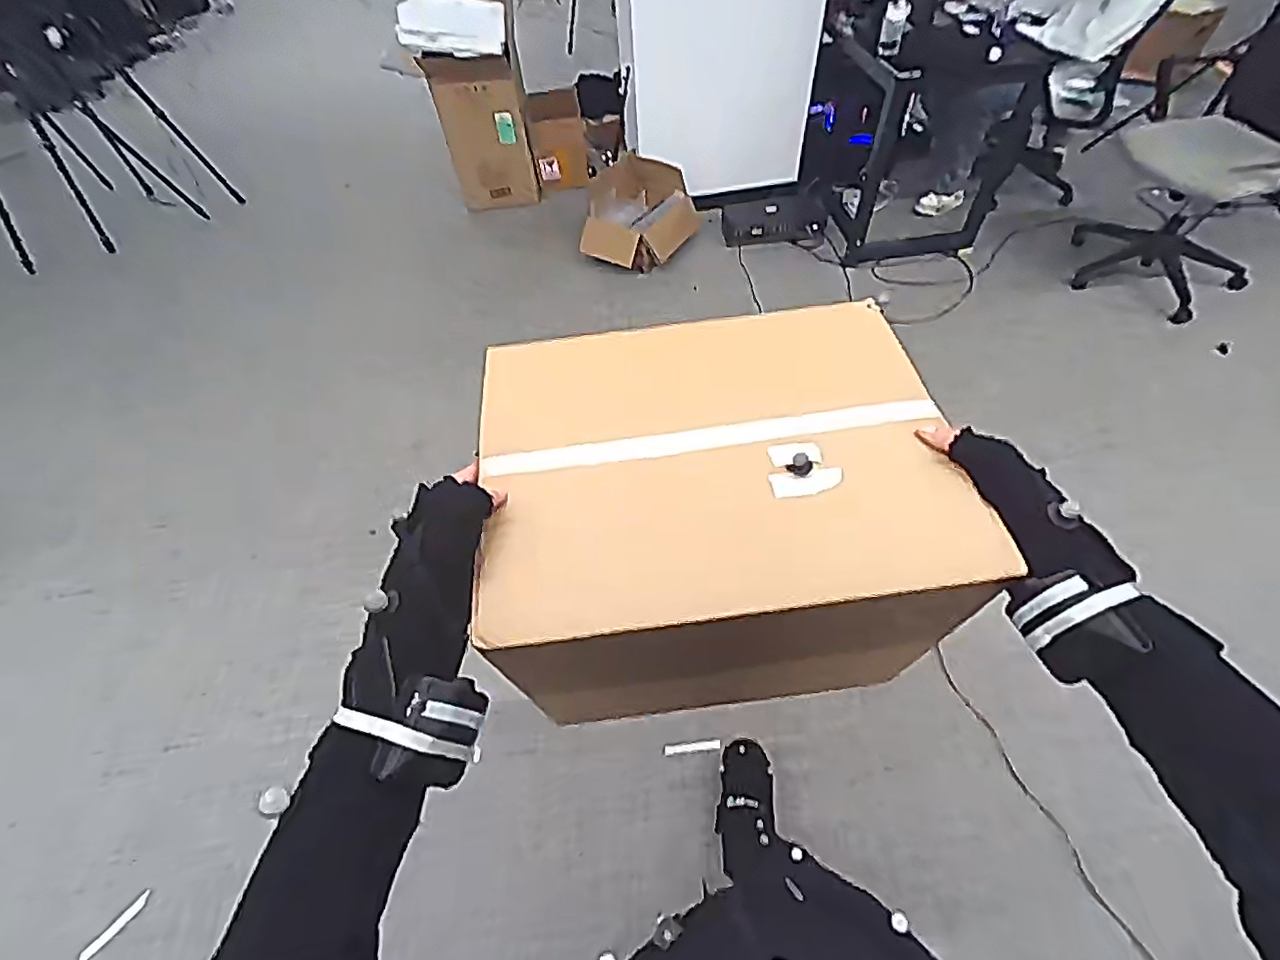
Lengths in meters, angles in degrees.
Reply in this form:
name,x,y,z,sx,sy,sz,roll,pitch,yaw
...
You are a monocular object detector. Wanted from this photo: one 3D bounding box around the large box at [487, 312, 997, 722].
name,x,y,z,sx,sy,sz,roll,pitch,yaw
large box,0.069,0.054,0.613,0.408,0.320,0.320,-8,56,-1
